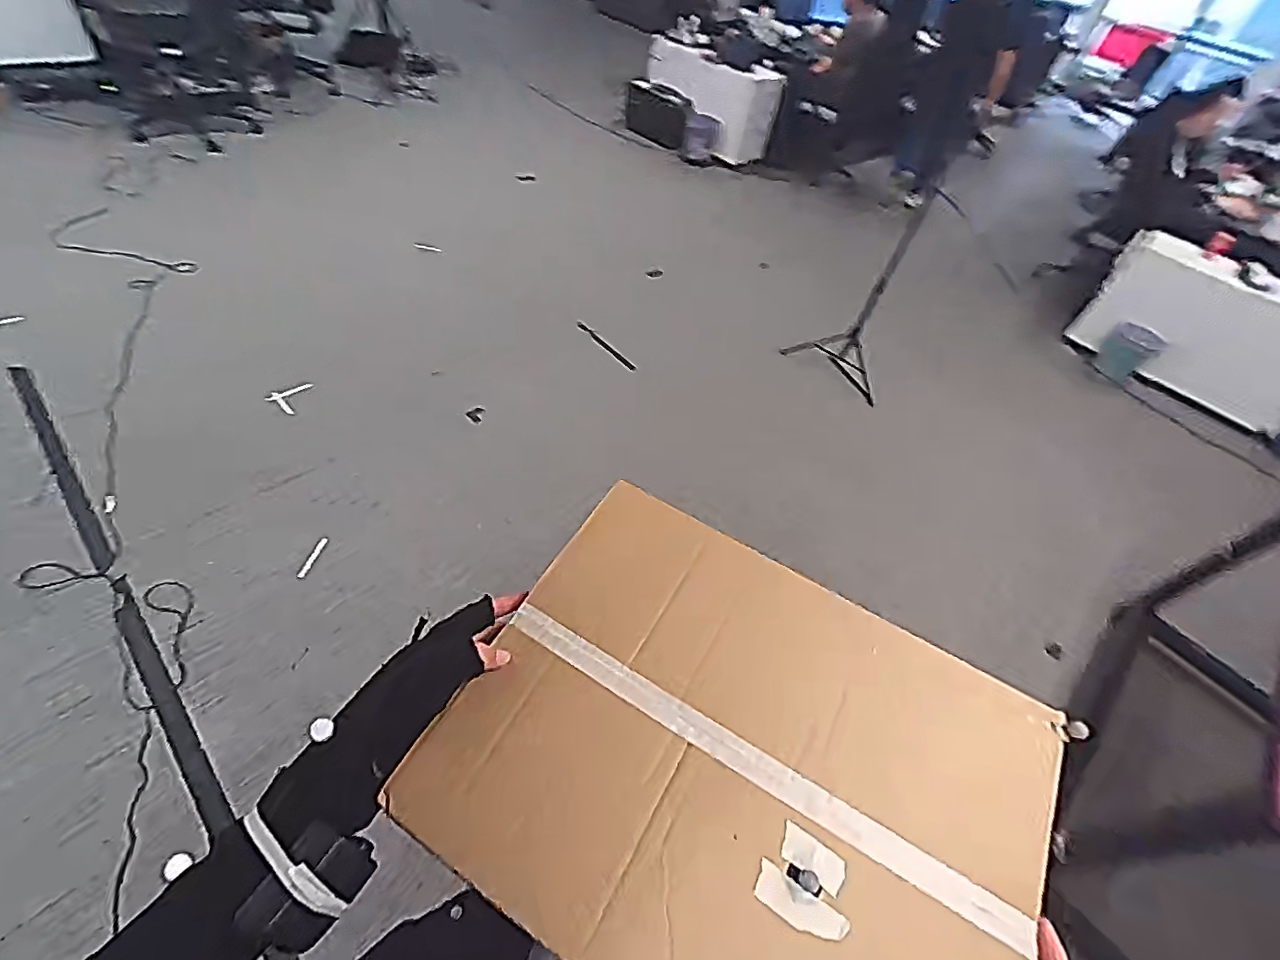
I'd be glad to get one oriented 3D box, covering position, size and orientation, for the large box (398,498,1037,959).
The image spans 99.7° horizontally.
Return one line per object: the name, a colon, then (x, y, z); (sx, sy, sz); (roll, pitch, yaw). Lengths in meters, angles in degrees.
large box: (0.065, 0.289, 0.528); (0.408, 0.320, 0.320); (28, 59, 15)
